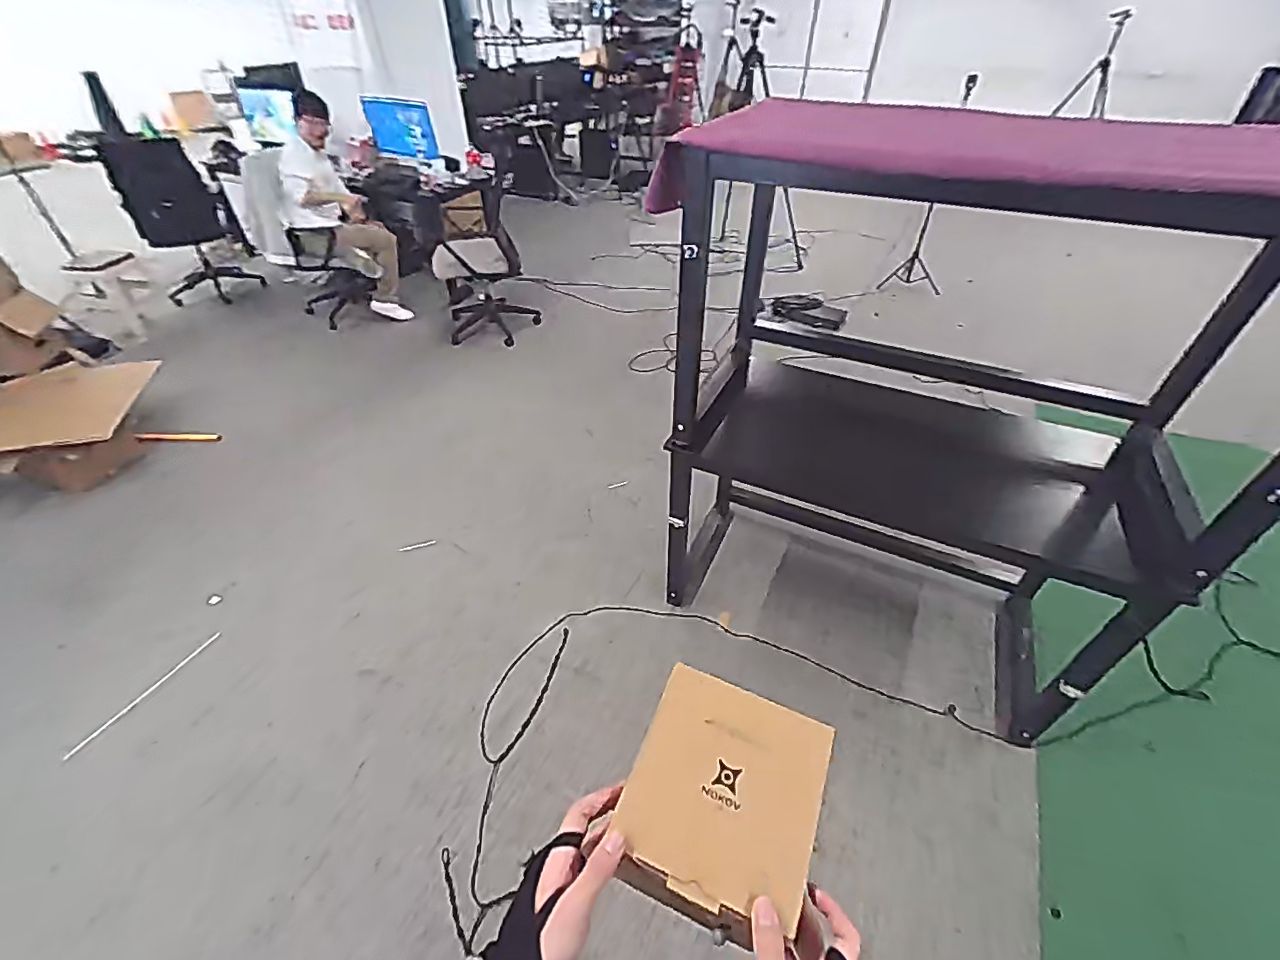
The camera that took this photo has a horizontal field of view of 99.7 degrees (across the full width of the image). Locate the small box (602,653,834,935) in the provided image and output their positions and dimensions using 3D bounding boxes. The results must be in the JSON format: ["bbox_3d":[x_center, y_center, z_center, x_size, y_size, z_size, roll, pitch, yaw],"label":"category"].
[{"bbox_3d":[0.076,0.314,0.541,0.168,0.176,0.179,19,49,15],"label":"small box"}]
